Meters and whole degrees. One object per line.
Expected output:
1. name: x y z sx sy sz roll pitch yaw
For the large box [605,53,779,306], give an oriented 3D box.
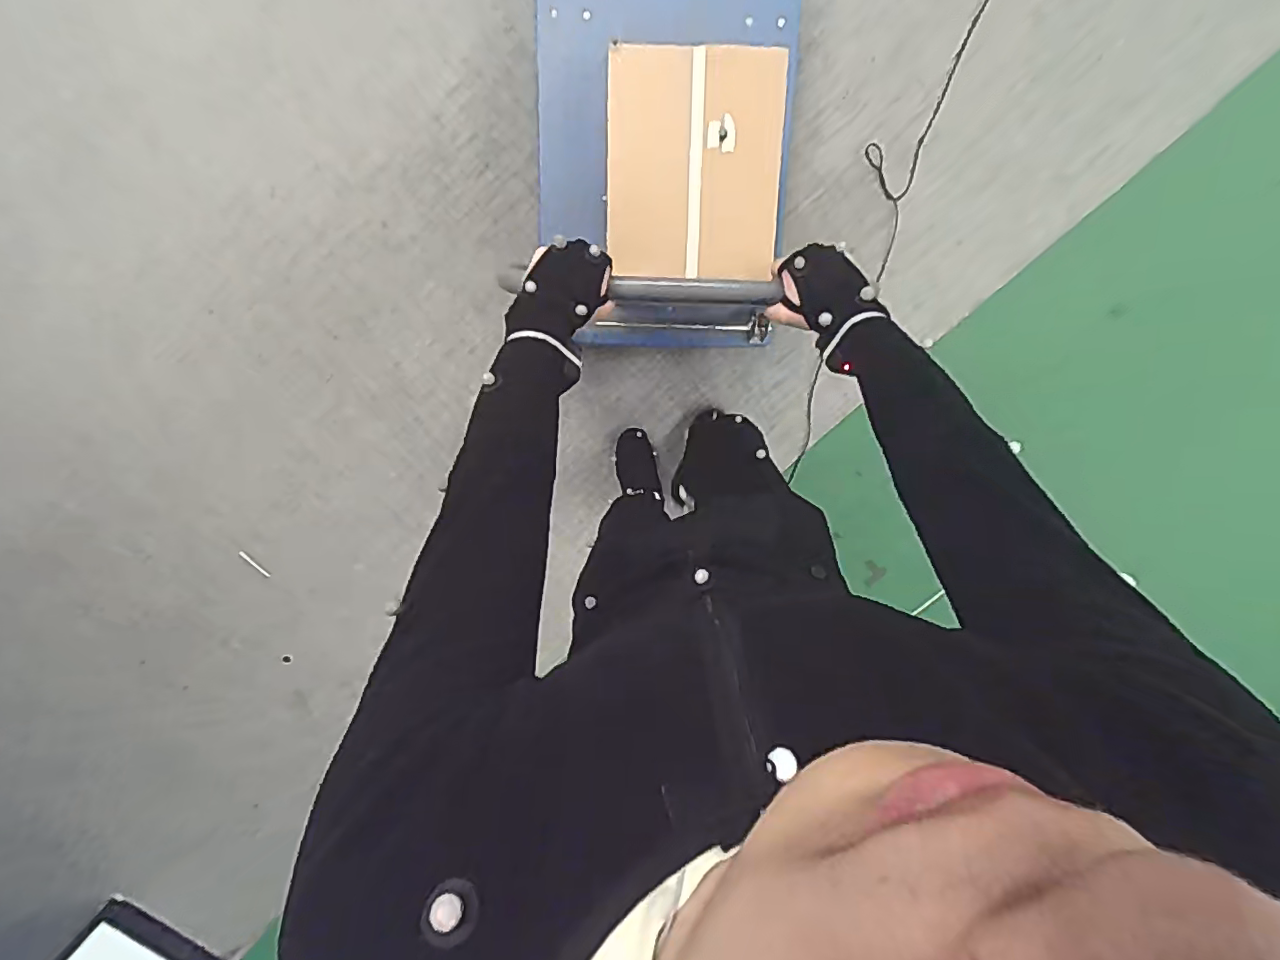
1. large box: 0.091 -0.587 1.140 0.320 0.320 0.408 1 103 -2
